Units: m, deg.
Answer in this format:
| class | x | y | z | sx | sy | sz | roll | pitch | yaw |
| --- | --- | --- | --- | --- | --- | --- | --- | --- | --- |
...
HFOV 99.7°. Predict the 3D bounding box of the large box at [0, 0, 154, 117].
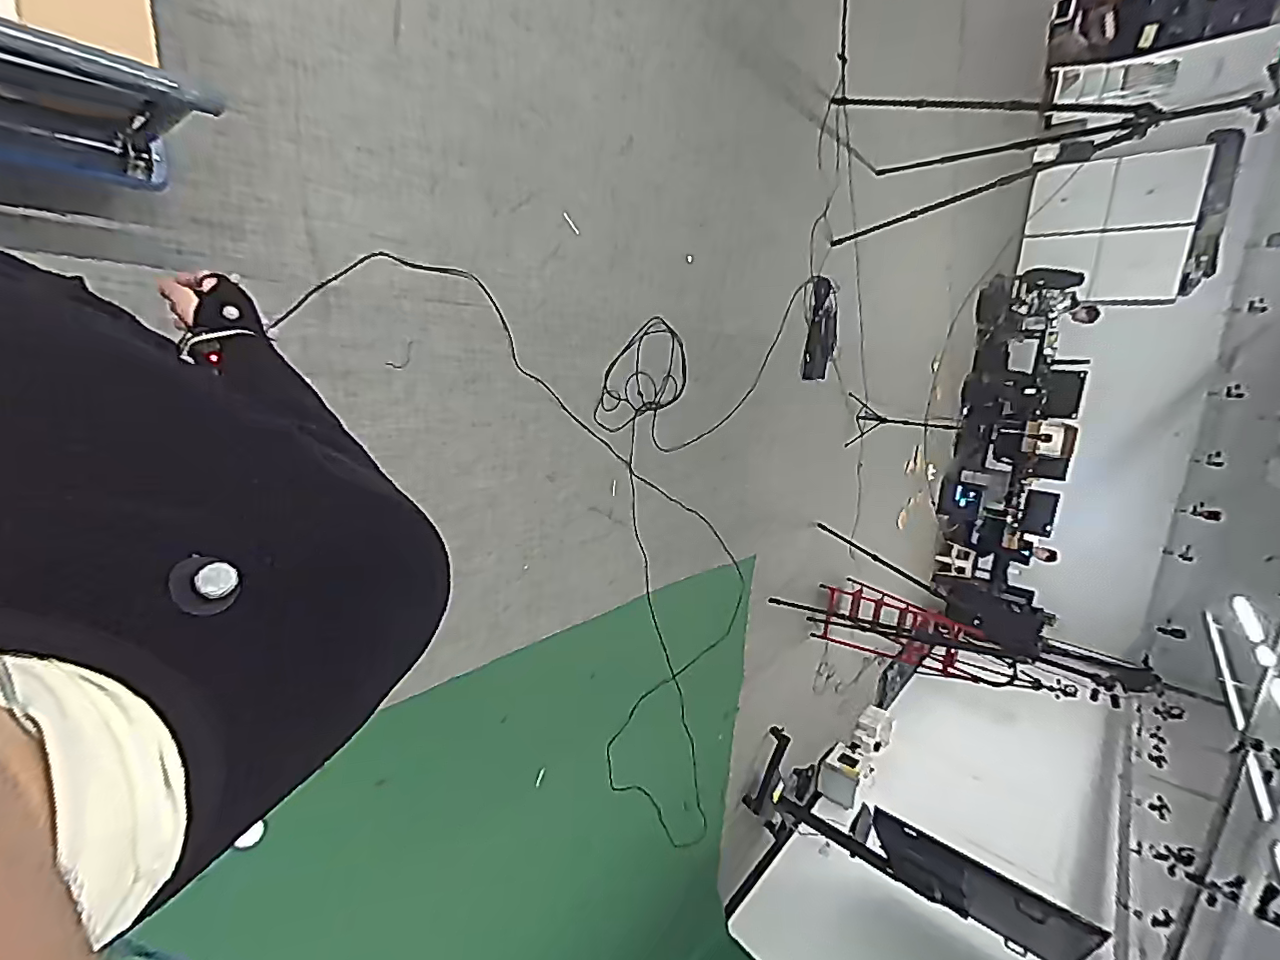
| class | x | y | z | sx | sy | sz | roll | pitch | yaw |
| --- | --- | --- | --- | --- | --- | --- | --- | --- | --- |
| large box | -0.942 | -0.809 | 0.757 | 0.320 | 0.320 | 0.408 | -13 | 111 | -47 |
